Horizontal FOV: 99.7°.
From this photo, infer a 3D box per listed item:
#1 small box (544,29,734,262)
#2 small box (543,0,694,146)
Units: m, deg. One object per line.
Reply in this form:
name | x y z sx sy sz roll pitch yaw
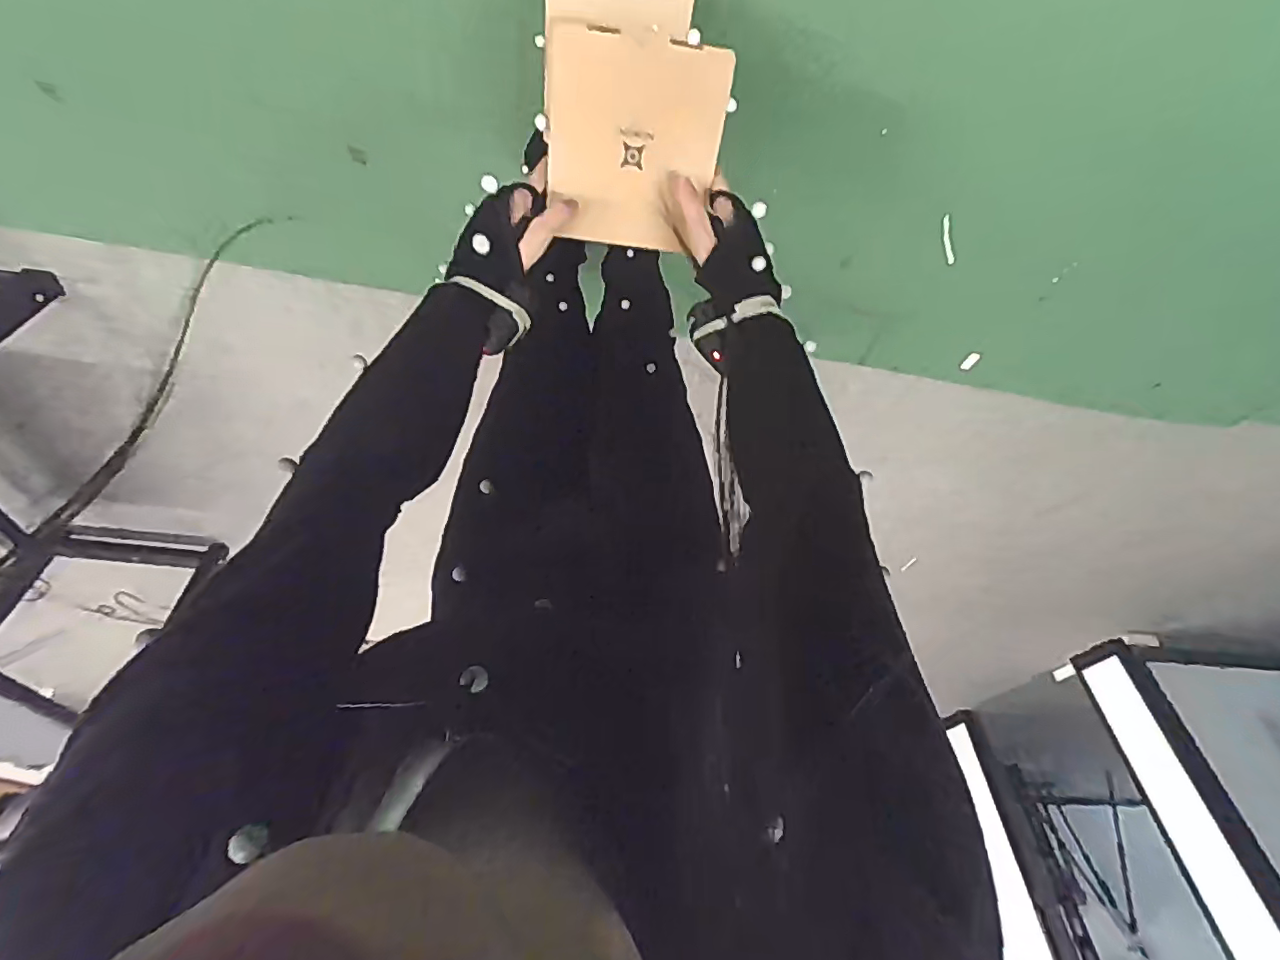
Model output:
small box | -0.009 -0.358 0.590 0.168 0.176 0.179 5 124 -7
small box | -0.034 -0.547 0.709 0.168 0.176 0.179 6 139 -7
